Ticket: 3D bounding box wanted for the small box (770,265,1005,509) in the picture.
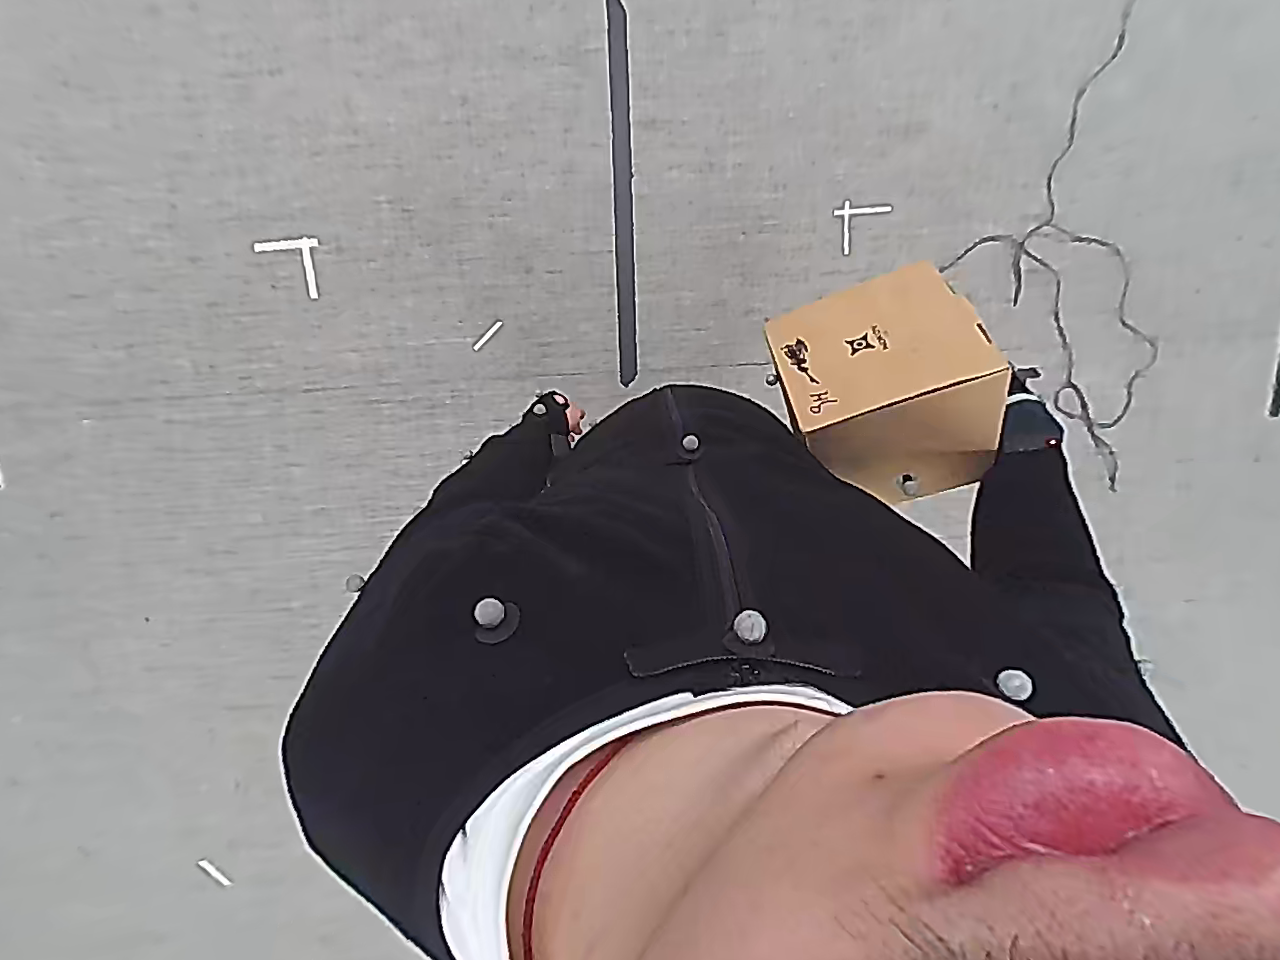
[{"bbox_3d":[0.259,-0.093,0.594,0.179,0.168,0.176,-18,140,15],"label":"small box"}]
